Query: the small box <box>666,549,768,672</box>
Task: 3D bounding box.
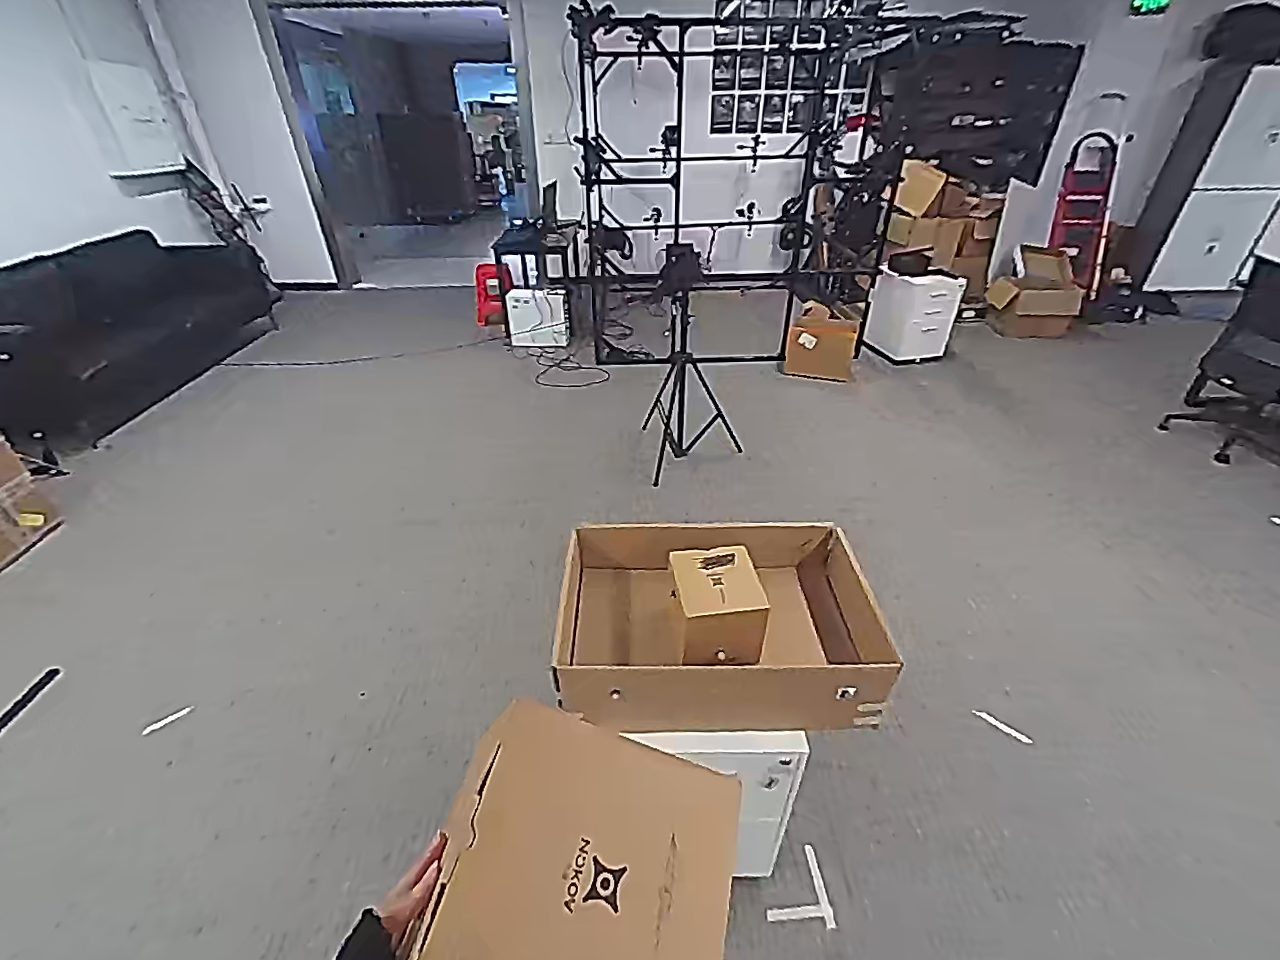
[{"bbox_3d":[0.149,0.268,1.117,0.168,0.176,0.179,-5,35,-6],"label":"small box"}]
